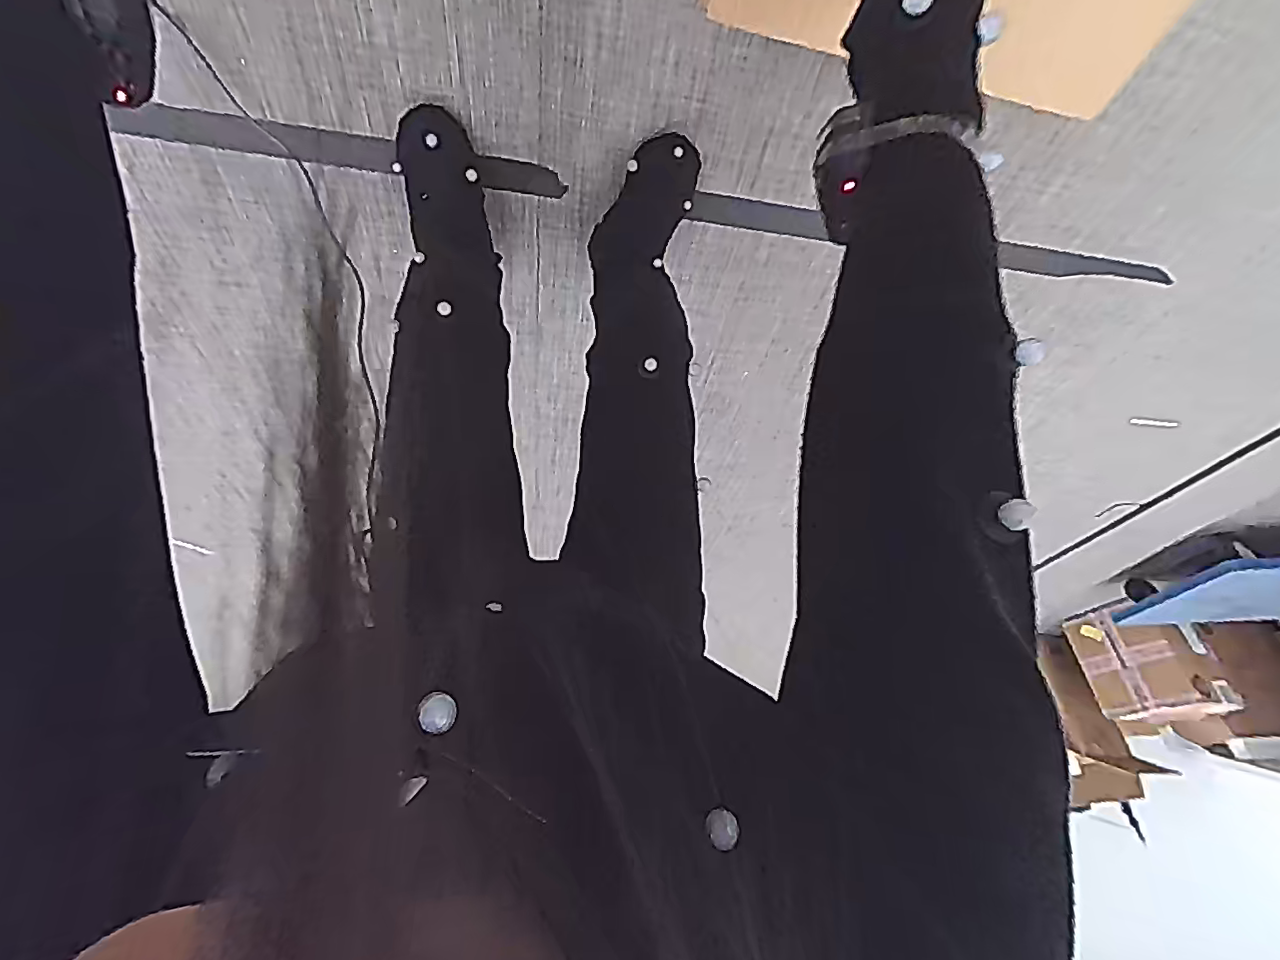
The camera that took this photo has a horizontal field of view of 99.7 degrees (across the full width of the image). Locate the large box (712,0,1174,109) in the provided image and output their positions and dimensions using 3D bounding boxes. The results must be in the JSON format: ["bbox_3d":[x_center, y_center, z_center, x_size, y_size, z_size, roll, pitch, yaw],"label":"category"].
[{"bbox_3d":[0.274,-0.590,0.465,0.408,0.320,0.320,4,145,-13],"label":"large box"}]
